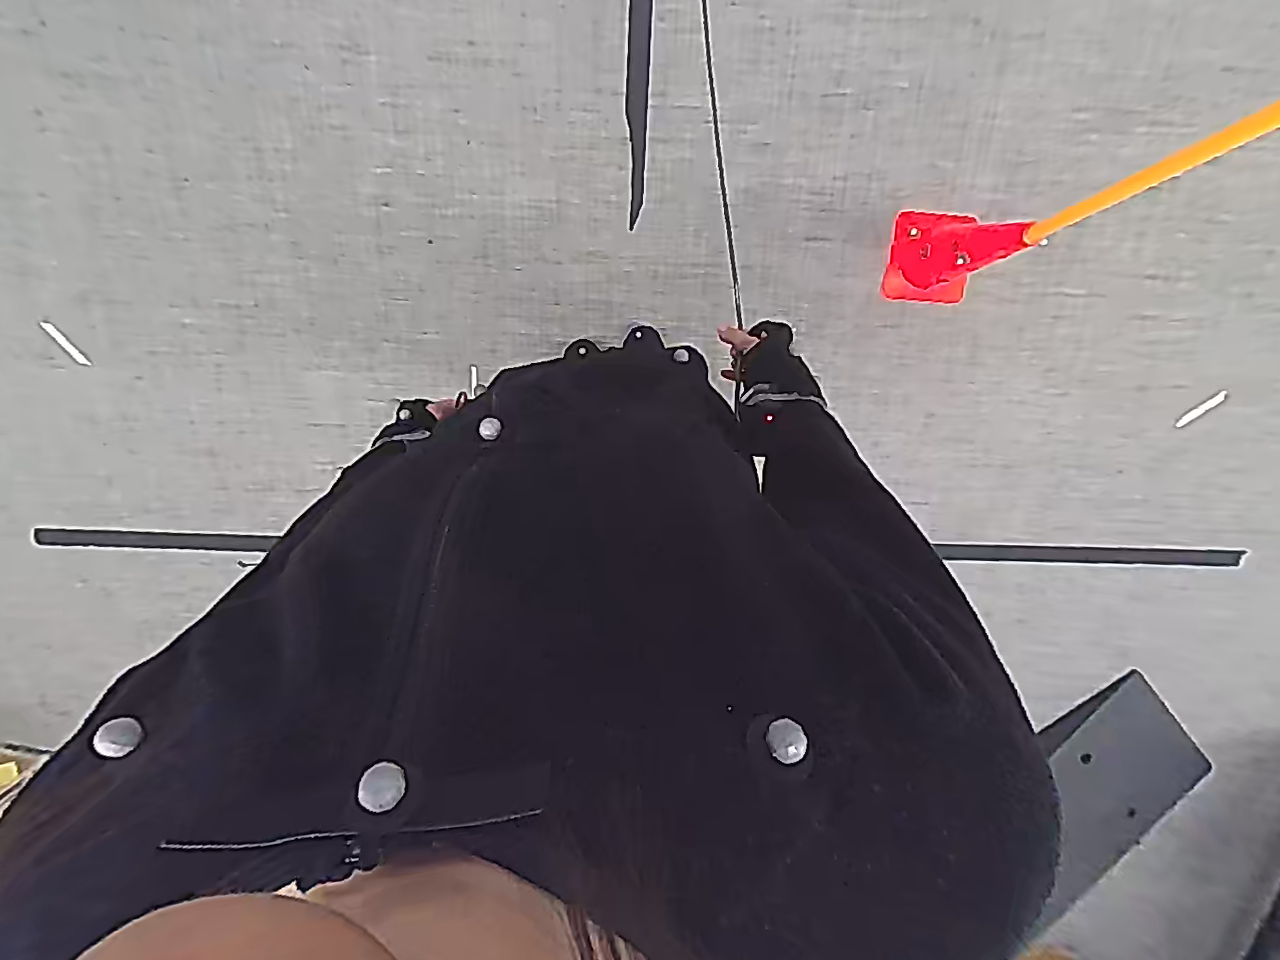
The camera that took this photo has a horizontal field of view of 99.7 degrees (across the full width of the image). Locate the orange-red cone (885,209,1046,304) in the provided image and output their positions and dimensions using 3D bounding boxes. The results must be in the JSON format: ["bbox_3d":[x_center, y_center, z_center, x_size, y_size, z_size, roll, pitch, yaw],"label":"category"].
[{"bbox_3d":[0.696,-0.480,1.118,0.198,0.360,0.199,6,106,-2],"label":"orange-red cone"}]
